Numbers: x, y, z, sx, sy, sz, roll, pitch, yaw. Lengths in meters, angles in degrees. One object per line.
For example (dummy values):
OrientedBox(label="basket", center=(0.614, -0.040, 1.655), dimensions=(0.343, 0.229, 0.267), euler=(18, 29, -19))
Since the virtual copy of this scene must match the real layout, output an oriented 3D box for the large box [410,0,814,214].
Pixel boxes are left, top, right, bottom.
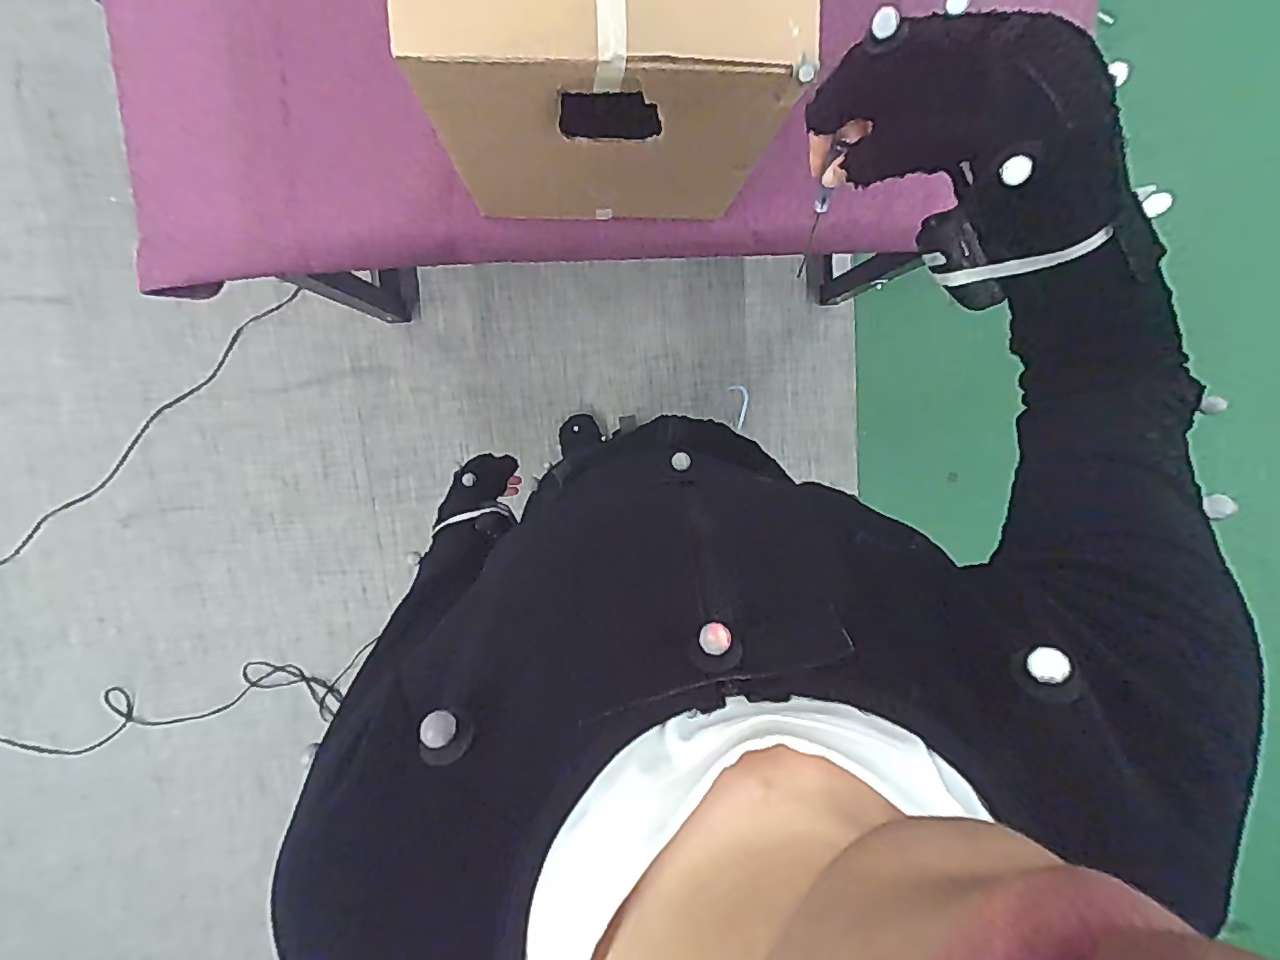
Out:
OrientedBox(label="large box", center=(-0.035, -0.528, 0.534), dimensions=(0.320, 0.320, 0.408), euler=(-1, 98, -4))
